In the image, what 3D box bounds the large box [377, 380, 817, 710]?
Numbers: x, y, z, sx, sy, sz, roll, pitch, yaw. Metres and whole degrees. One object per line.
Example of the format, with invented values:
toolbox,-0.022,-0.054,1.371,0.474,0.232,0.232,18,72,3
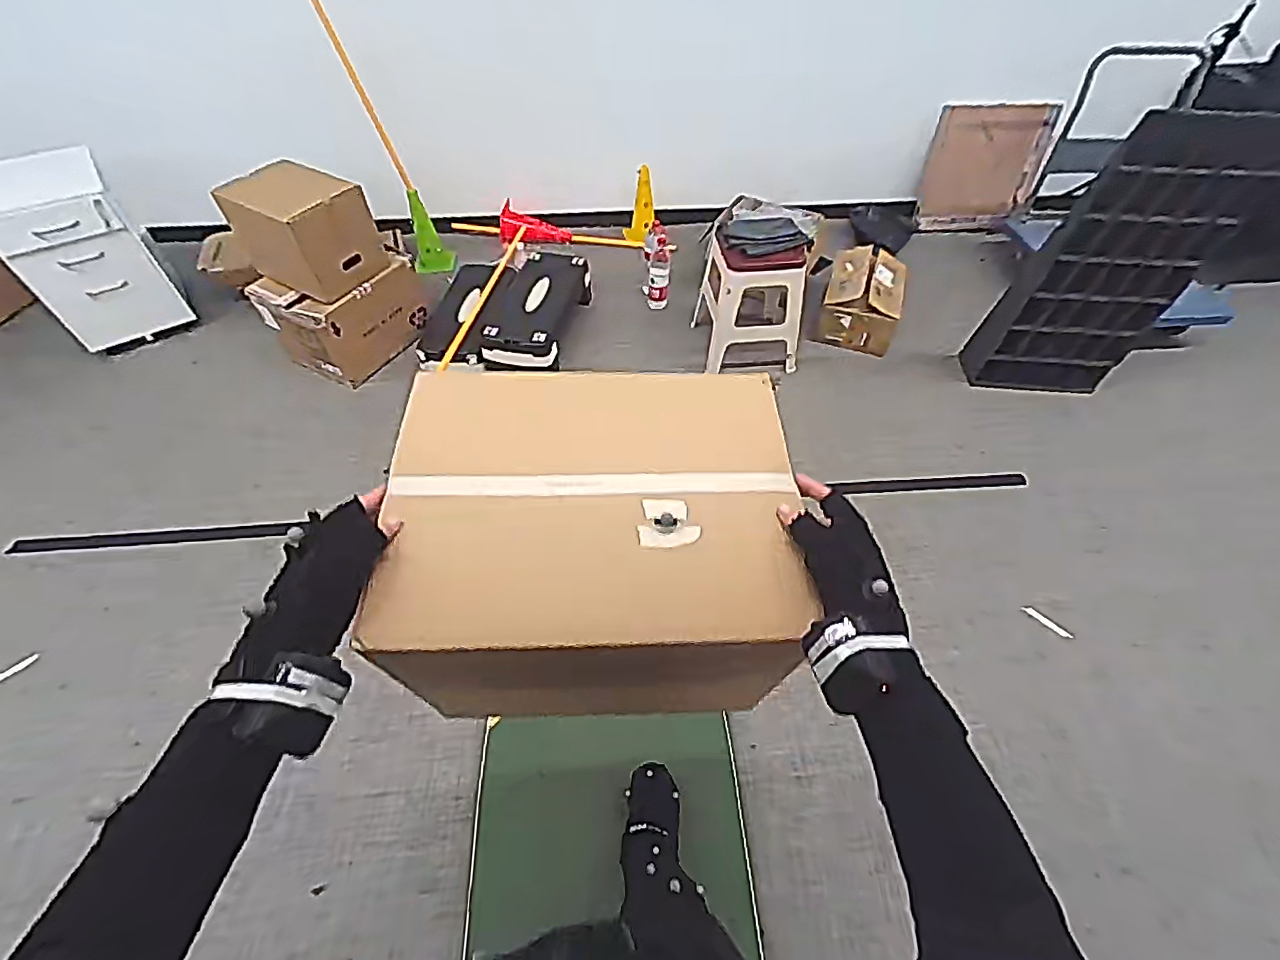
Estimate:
large box,-0.051,0.090,0.685,0.408,0.320,0.320,0,57,-5
